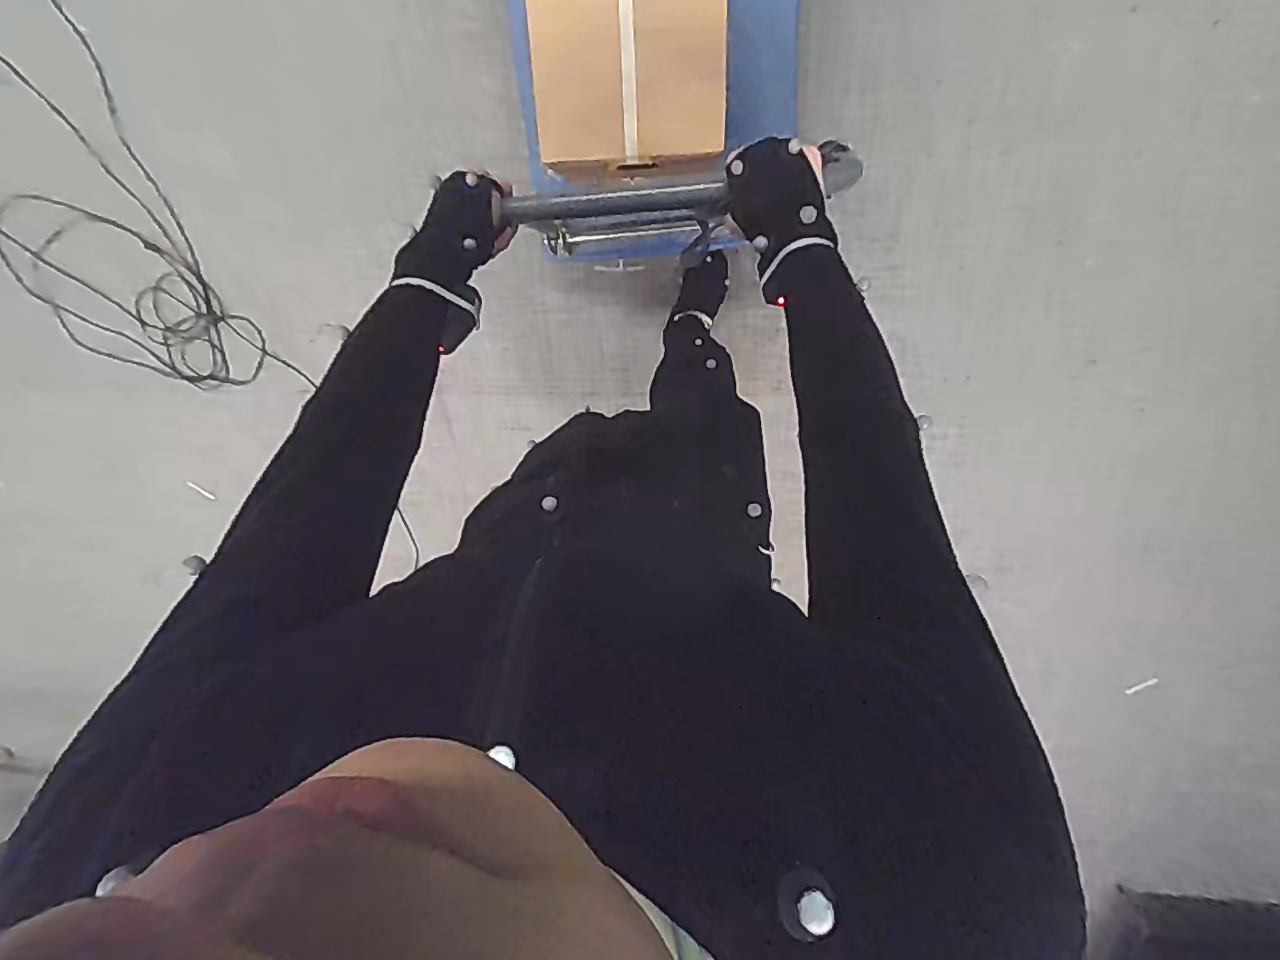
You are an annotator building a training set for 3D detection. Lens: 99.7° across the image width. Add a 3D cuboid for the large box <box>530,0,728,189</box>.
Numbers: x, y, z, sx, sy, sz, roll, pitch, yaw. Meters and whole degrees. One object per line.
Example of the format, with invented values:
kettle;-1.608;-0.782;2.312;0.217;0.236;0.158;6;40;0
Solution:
large box;-0.004;-0.783;0.981;0.320;0.320;0.408;0;111;6
